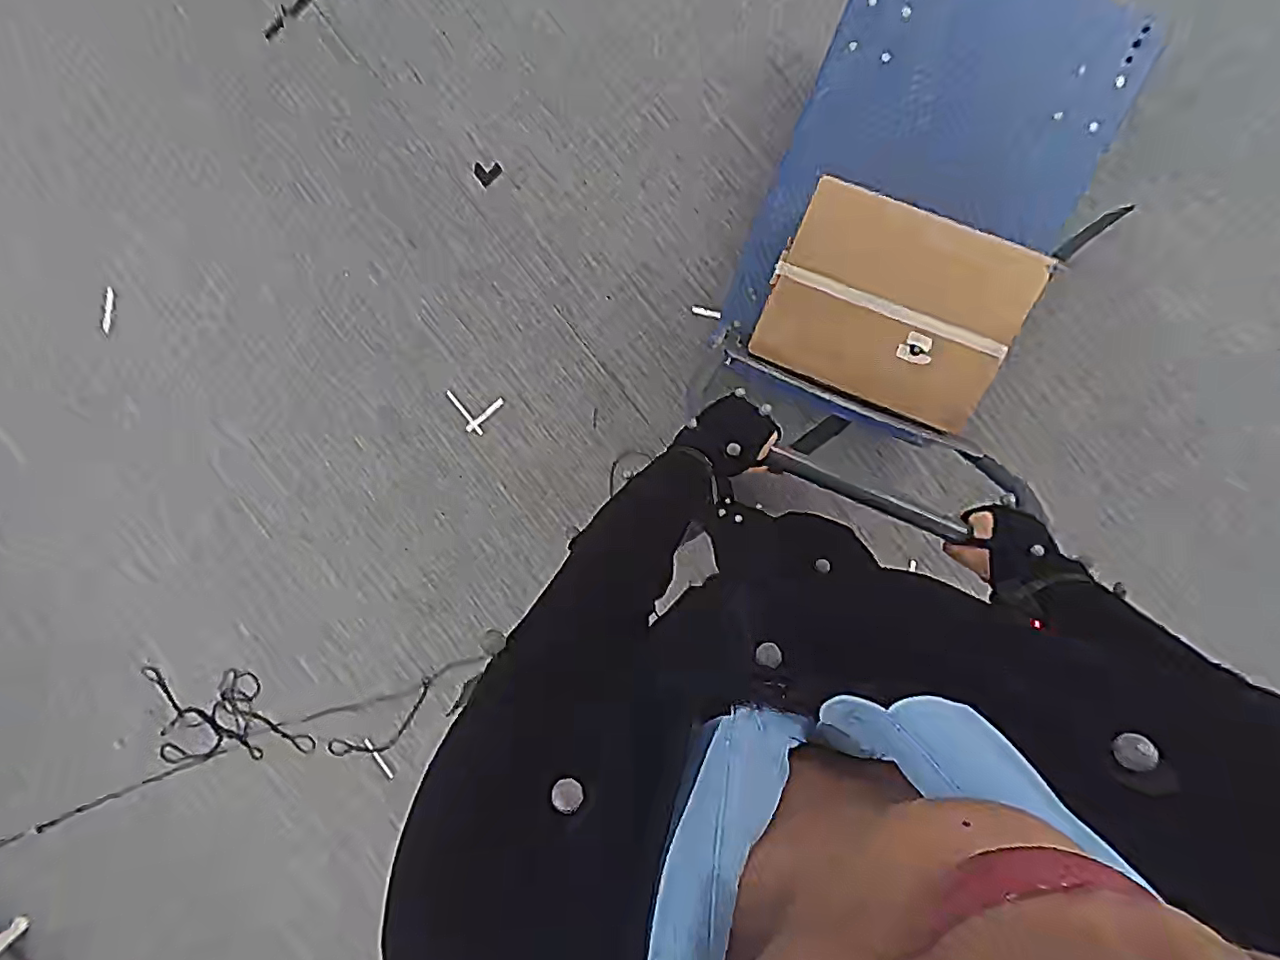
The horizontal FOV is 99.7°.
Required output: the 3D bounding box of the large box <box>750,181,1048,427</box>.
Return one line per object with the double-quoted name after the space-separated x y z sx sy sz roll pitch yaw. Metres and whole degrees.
0.466 -0.342 1.091 0.408 0.320 0.320 23 109 4 "large box"
